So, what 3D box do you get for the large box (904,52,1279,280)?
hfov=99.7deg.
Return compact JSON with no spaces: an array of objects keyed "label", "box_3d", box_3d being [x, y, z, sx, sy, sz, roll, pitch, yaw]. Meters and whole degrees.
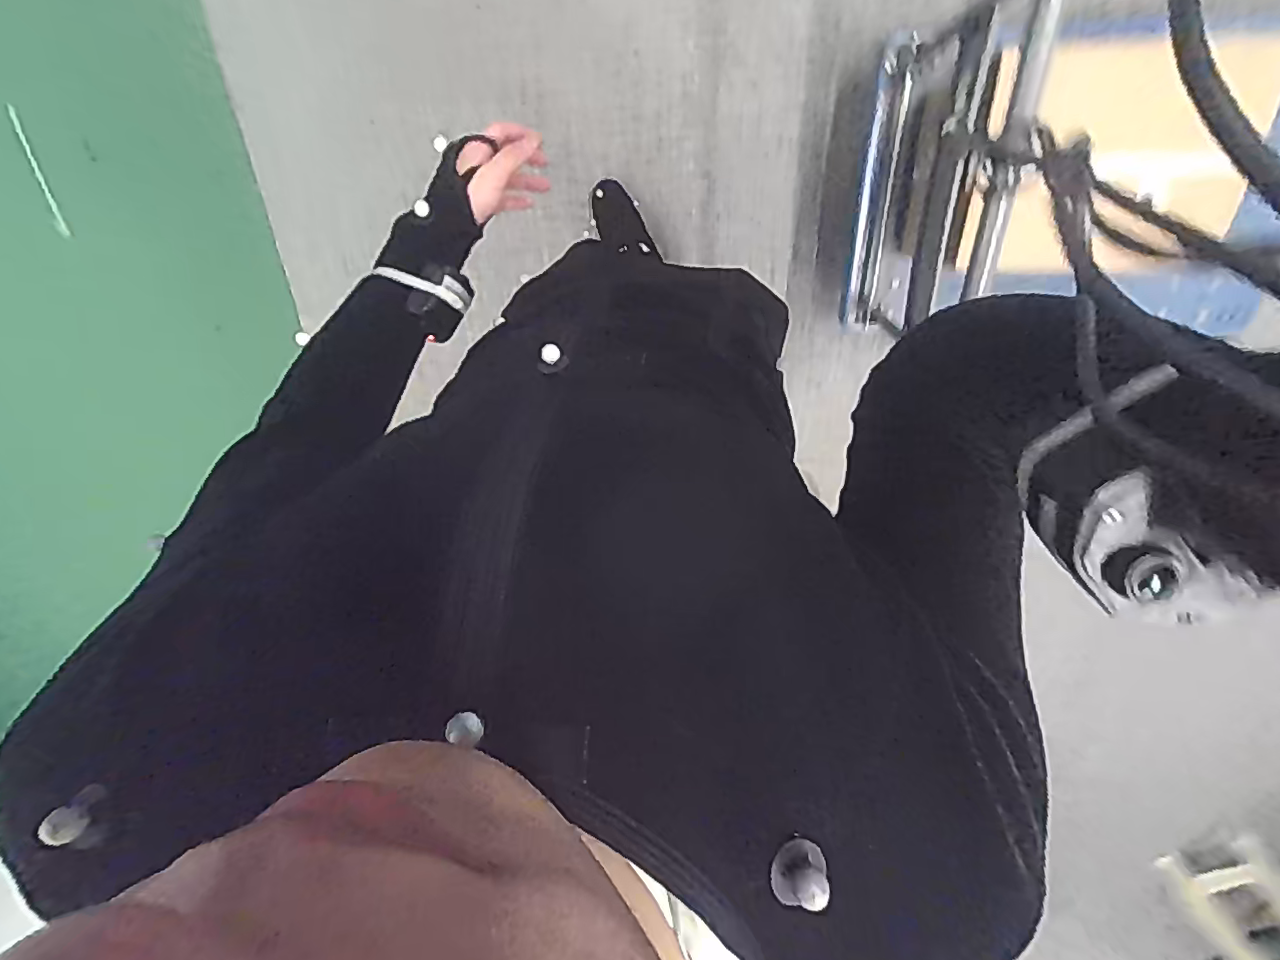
[{"label":"large box","box_3d":[0.764,-0.549,0.996,0.408,0.320,0.320,3,116,5]}]
